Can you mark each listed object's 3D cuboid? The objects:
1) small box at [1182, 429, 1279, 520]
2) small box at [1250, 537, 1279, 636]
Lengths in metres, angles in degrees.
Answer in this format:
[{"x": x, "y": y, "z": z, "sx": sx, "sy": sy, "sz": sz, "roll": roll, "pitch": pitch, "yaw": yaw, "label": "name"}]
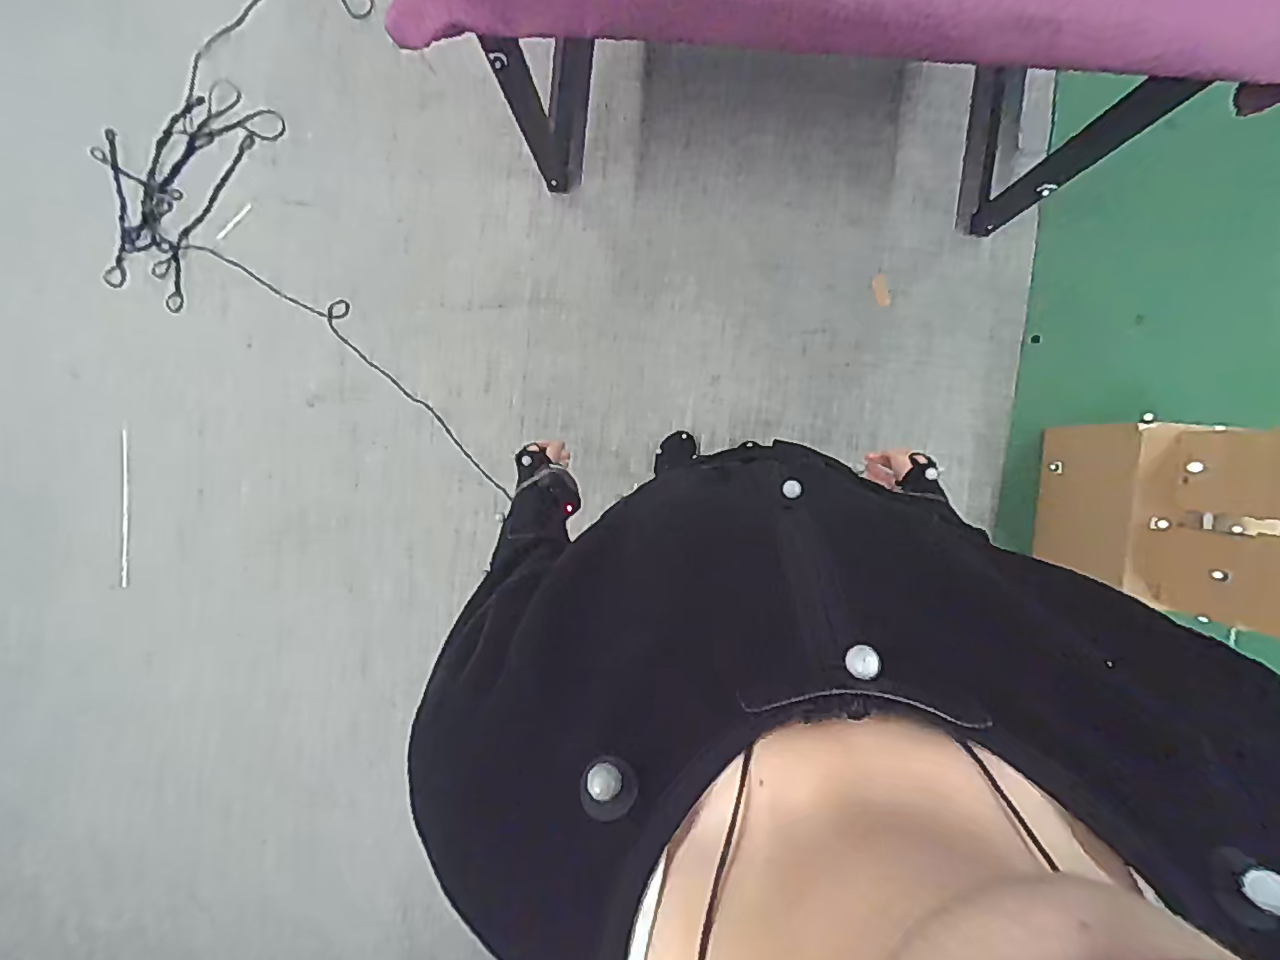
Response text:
[{"x": 1.222, "y": -0.012, "z": 1.044, "sx": 0.179, "sy": 0.176, "sz": 0.168, "roll": 1, "pitch": 93, "yaw": 4, "label": "small box"}, {"x": 1.190, "y": 0.203, "z": 0.894, "sx": 0.168, "sy": 0.176, "sz": 0.179, "roll": 11, "pitch": 92, "yaw": 4, "label": "small box"}]
